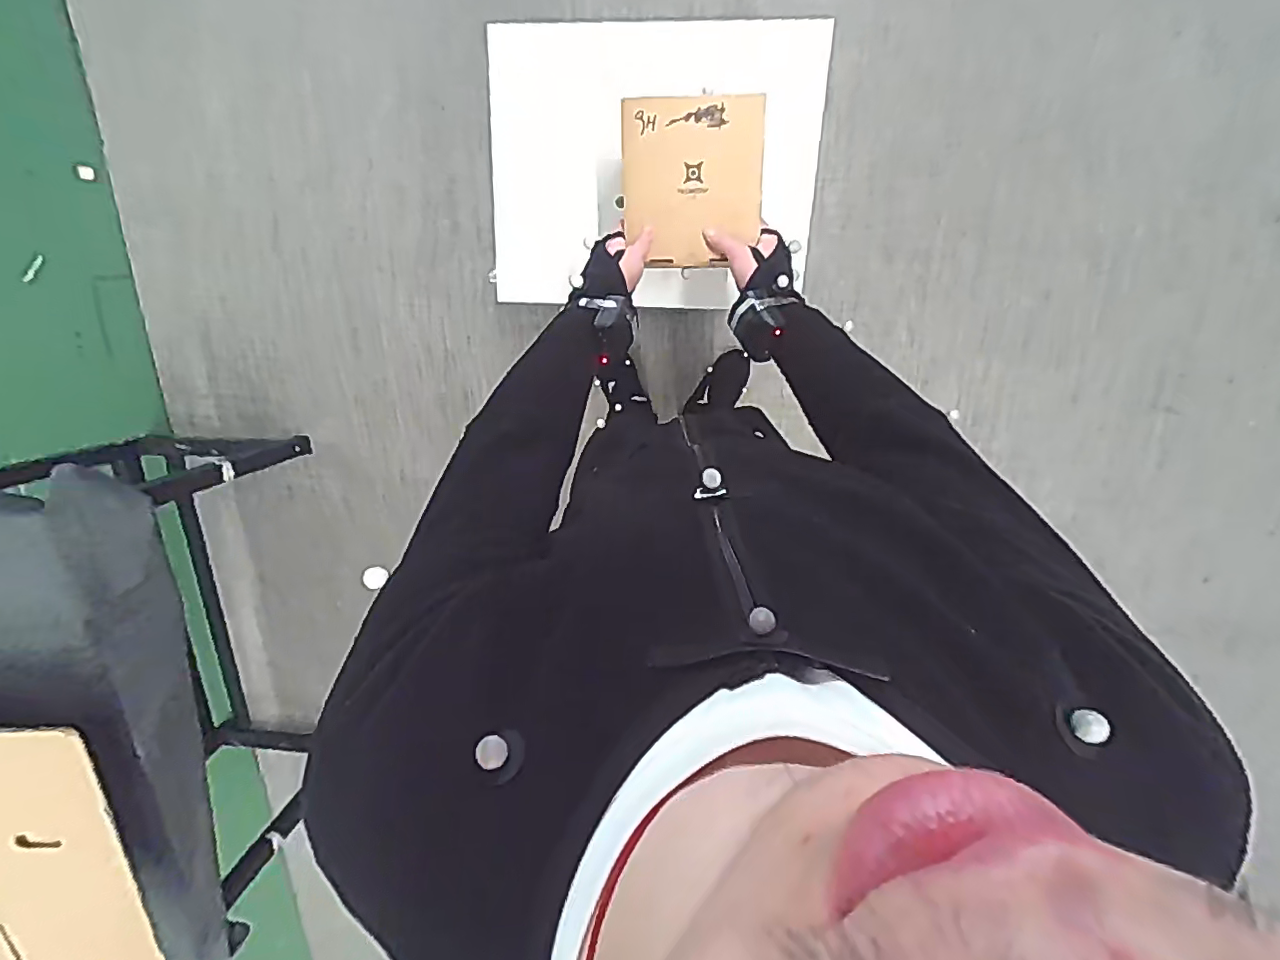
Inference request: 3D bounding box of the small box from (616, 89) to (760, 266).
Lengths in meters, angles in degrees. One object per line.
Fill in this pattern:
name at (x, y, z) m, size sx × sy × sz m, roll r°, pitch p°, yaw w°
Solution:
small box at (0.060, -0.379, 0.712) m, size 0.168 × 0.176 × 0.179 m, roll -2°, pitch 108°, yaw 3°
